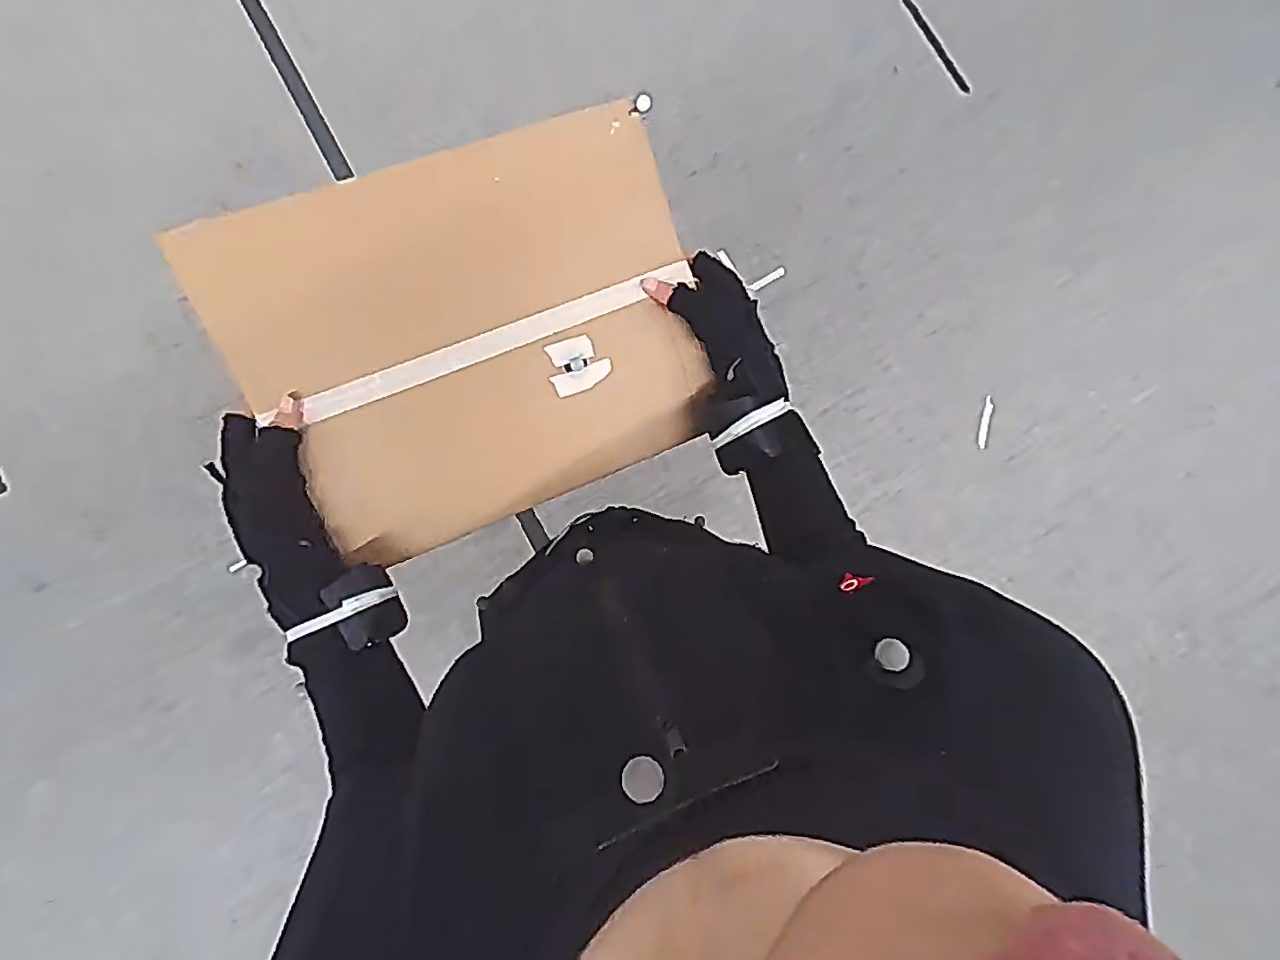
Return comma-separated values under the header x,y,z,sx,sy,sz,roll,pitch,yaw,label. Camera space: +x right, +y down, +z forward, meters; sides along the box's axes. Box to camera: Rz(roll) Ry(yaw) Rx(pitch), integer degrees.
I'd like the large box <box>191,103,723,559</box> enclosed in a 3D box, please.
x,y,z,sx,sy,sz,roll,pitch,yaw,label
-0.177,-0.163,0.649,0.408,0.320,0.320,-23,107,-10,large box
